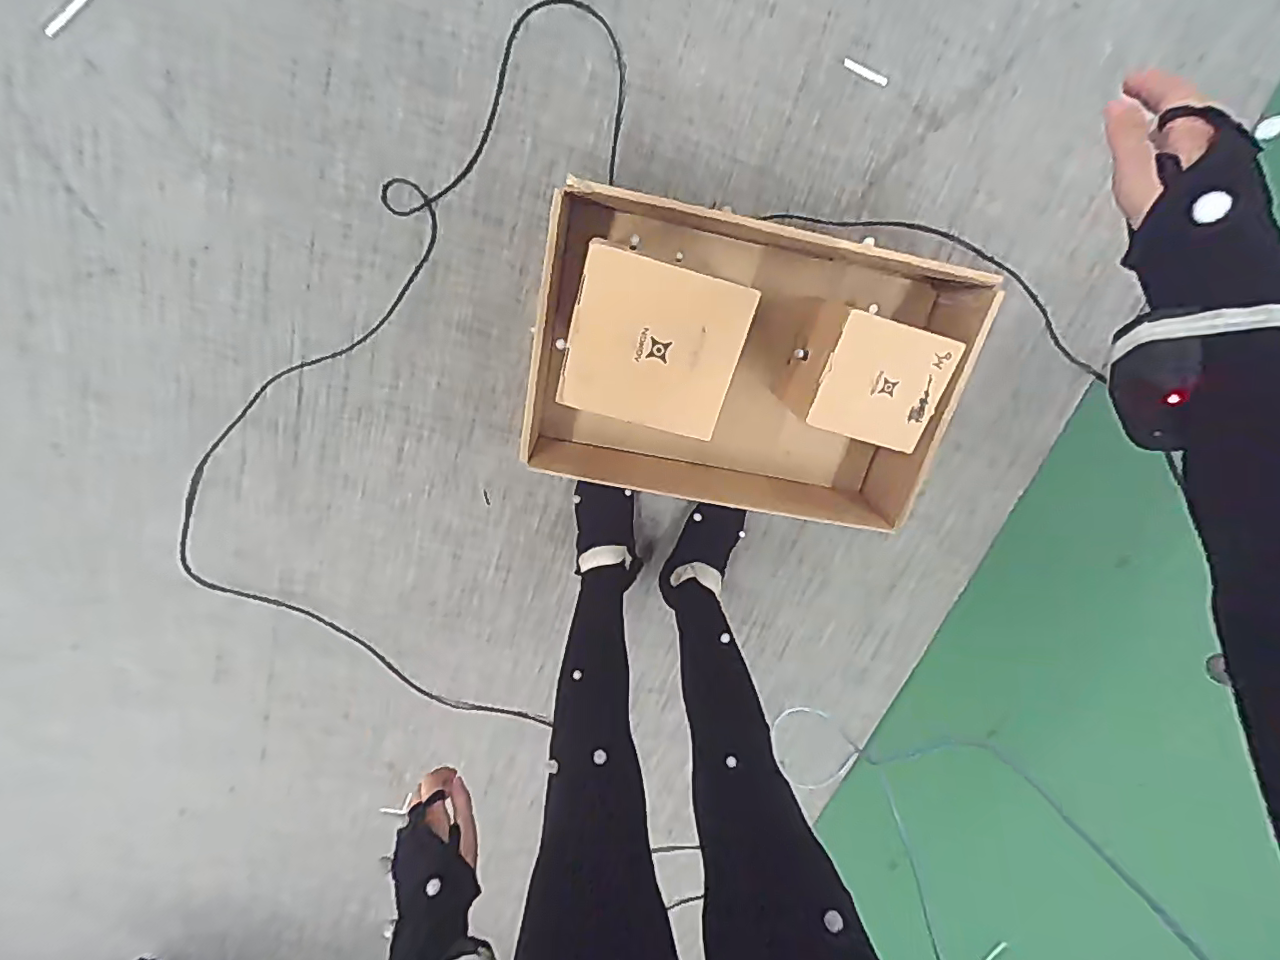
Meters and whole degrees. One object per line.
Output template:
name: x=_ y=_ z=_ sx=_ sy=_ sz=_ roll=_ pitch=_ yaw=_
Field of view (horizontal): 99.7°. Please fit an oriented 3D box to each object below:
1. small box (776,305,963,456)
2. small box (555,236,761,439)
small box: x=0.328 y=-0.159 z=0.818 sx=0.179 sy=0.176 sz=0.168 roll=16 pitch=111 yaw=-8
small box: x=0.011 y=-0.168 z=0.624 sx=0.179 sy=0.176 sz=0.168 roll=14 pitch=113 yaw=-10
